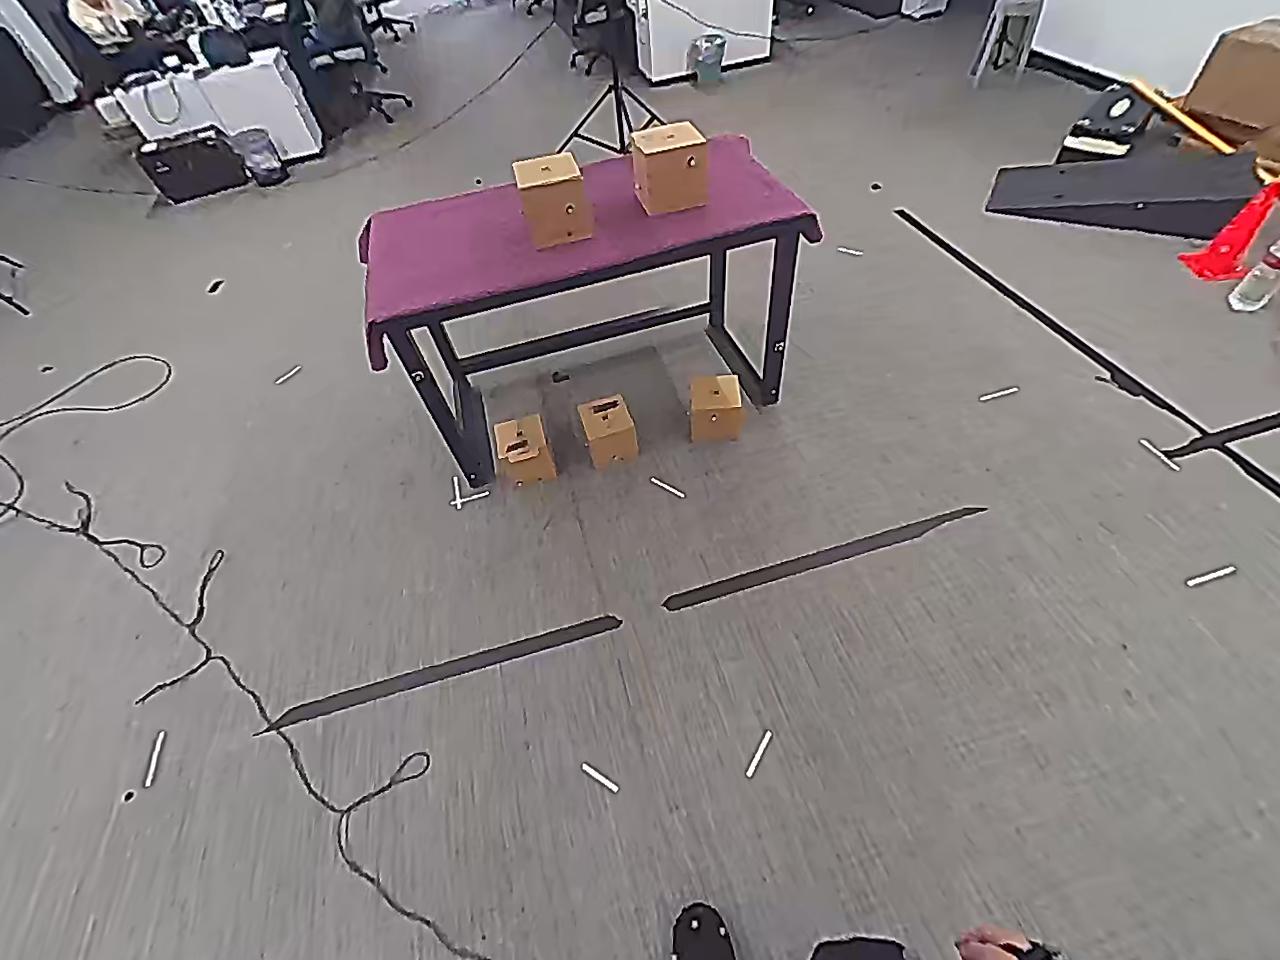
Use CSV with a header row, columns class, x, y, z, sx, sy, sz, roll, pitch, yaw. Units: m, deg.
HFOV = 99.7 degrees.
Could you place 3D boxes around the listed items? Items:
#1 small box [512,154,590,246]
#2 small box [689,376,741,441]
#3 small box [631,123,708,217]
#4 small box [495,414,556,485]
class,x,y,z,sx,sy,sz,roll,pitch,yaw
small box,-0.240,-0.760,1.483,0.168,0.176,0.179,-15,50,-6
small box,0.269,-0.256,1.957,0.179,0.176,0.168,-4,52,6
small box,0.084,-0.878,1.534,0.179,0.176,0.168,-15,51,-4
small box,-0.404,-0.100,1.914,0.168,0.176,0.179,-15,51,-5
